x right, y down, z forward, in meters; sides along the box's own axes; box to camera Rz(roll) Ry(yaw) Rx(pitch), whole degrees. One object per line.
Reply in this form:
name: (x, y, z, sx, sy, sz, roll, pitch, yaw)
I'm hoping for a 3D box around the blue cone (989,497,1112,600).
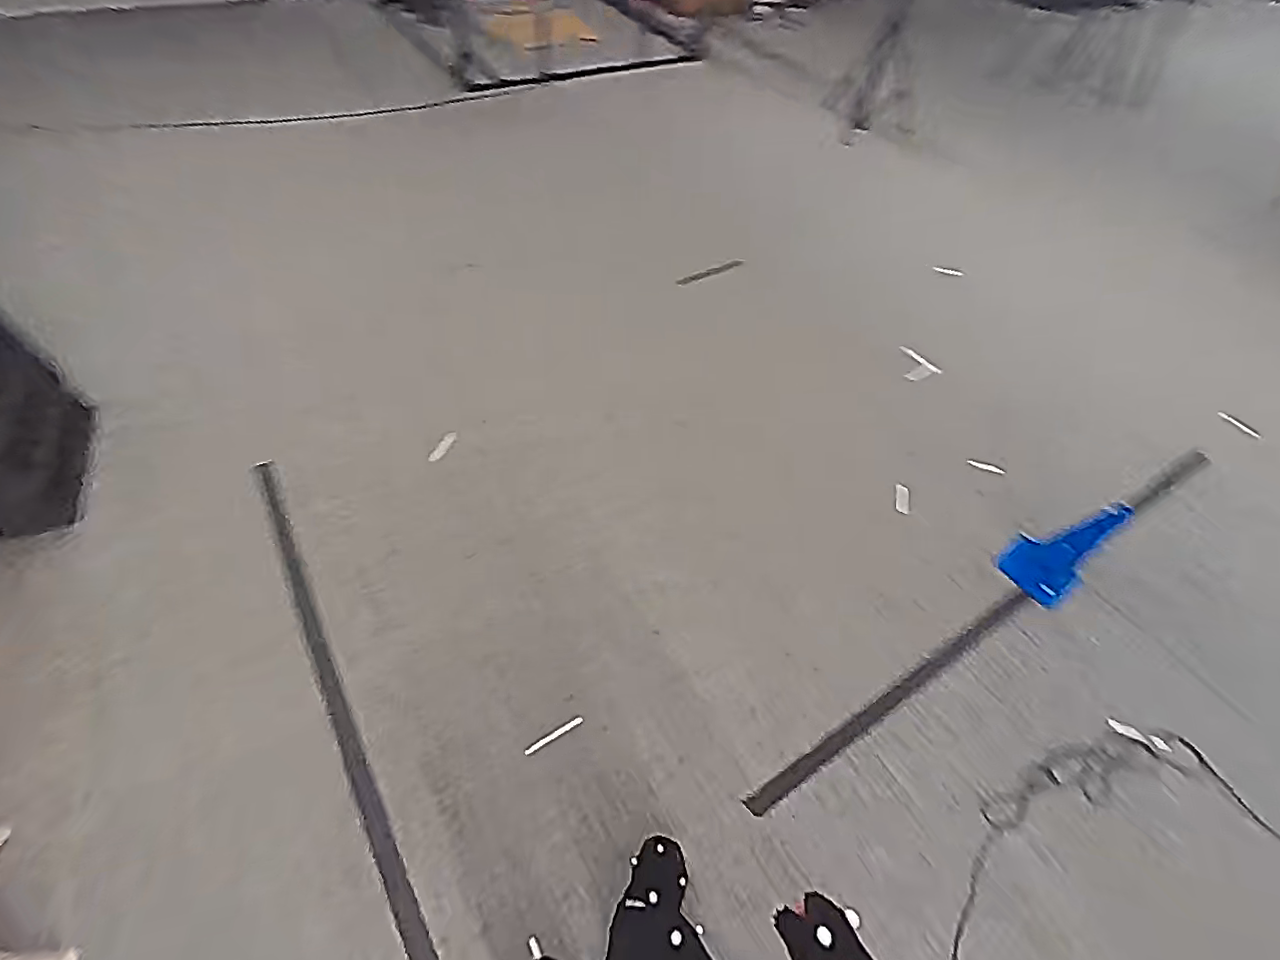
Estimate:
blue cone: (1.255, 0.181, 1.608, 0.193, 0.380, 0.192, -28, 60, -24)
